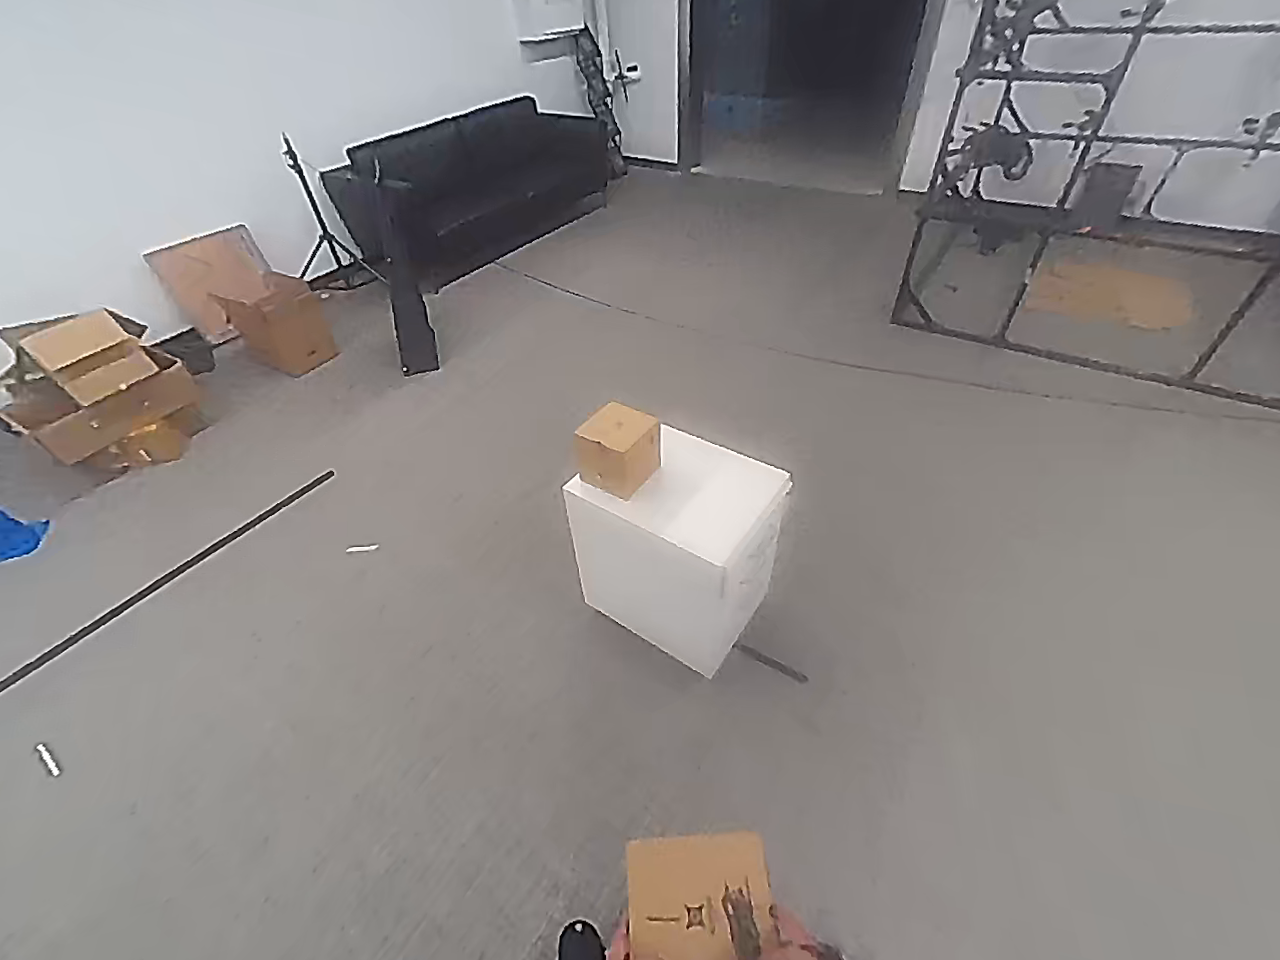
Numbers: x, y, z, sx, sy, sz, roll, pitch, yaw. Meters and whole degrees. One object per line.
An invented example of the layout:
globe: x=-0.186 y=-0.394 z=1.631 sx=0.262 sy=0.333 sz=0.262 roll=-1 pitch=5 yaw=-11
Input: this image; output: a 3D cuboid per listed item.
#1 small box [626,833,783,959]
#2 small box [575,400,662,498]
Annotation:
small box: x=0.076 y=0.566 z=0.691 sx=0.179 sy=0.176 sz=0.168 roll=-5 pitch=47 yaw=1
small box: x=-0.055 y=-0.085 z=1.472 sx=0.168 sy=0.176 sz=0.179 roll=23 pitch=50 yaw=26
